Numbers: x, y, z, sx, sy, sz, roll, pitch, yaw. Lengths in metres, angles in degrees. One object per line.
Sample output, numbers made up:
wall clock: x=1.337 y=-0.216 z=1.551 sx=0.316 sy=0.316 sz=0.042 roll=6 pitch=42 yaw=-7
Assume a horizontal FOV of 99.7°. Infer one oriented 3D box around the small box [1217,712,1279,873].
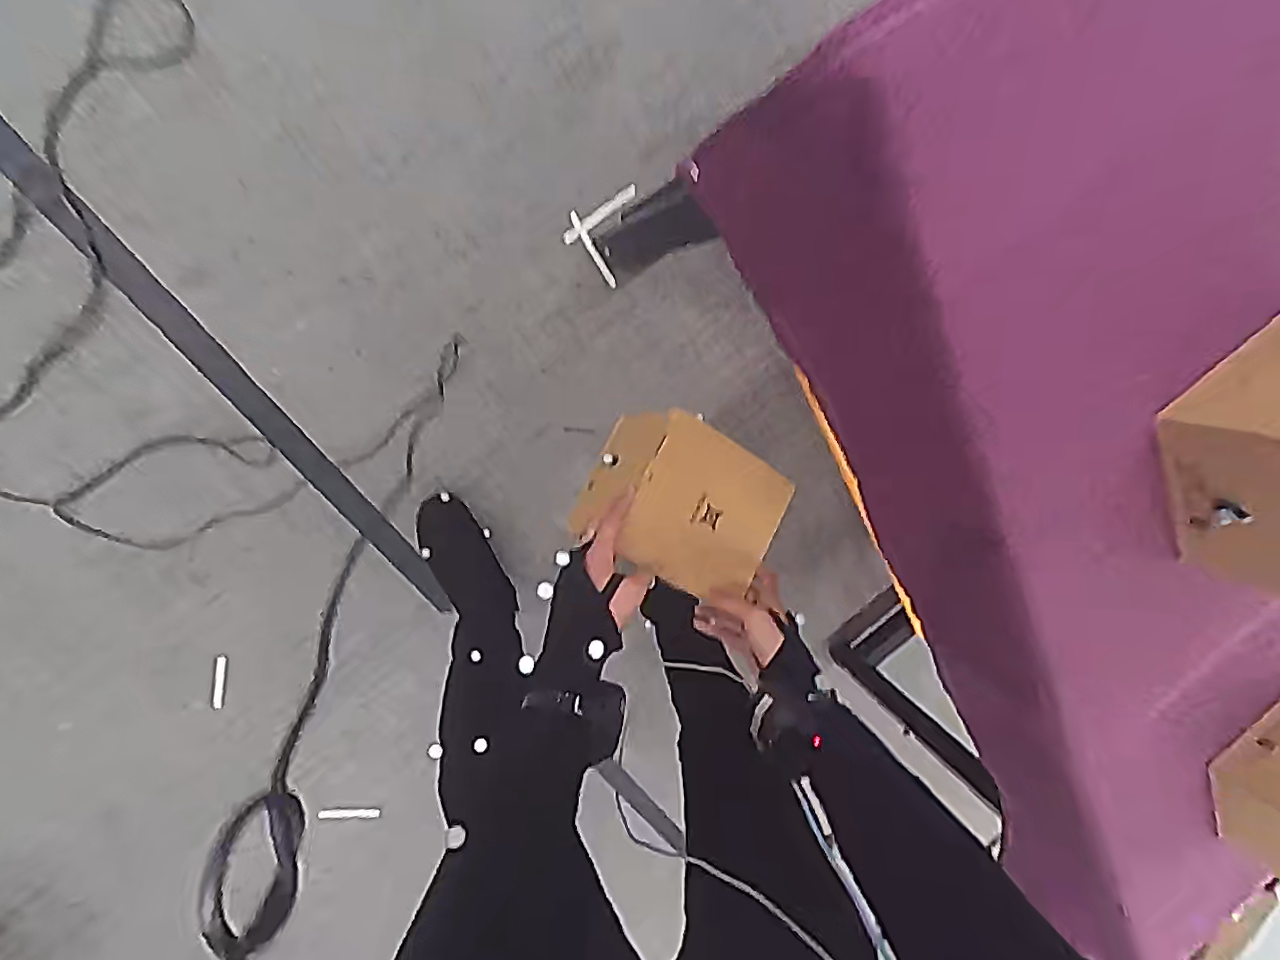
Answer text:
small box: x=0.773 y=0.360 z=0.575 sx=0.168 sy=0.176 sz=0.179 roll=-37 pitch=115 yaw=-4
